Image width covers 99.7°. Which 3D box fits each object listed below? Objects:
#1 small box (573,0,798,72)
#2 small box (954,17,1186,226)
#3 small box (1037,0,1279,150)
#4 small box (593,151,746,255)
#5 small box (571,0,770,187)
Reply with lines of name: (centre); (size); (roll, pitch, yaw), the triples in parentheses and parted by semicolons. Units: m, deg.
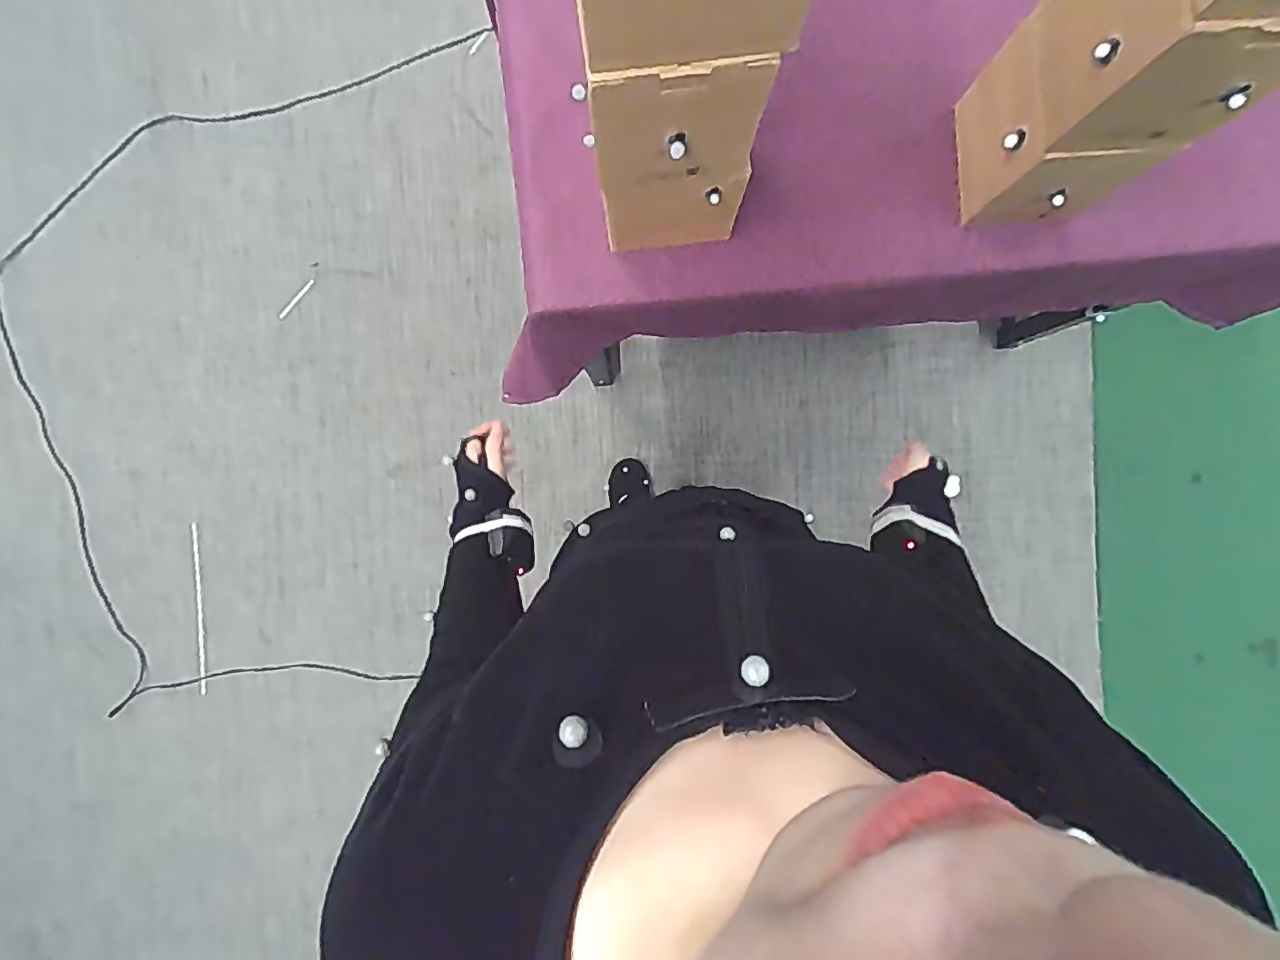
small box: (0.030, -0.427, 0.376); (0.179, 0.176, 0.168); (-6, 88, 0)
small box: (0.532, -0.445, 0.694); (0.168, 0.176, 0.179); (-3, 89, 1)
small box: (0.529, -0.453, 0.531); (0.168, 0.176, 0.179); (-1, 88, 1)
small box: (0.030, -0.413, 0.705); (0.179, 0.176, 0.168); (-7, 88, 0)
small box: (0.023, -0.419, 0.541); (0.168, 0.176, 0.179); (-7, 89, 0)
